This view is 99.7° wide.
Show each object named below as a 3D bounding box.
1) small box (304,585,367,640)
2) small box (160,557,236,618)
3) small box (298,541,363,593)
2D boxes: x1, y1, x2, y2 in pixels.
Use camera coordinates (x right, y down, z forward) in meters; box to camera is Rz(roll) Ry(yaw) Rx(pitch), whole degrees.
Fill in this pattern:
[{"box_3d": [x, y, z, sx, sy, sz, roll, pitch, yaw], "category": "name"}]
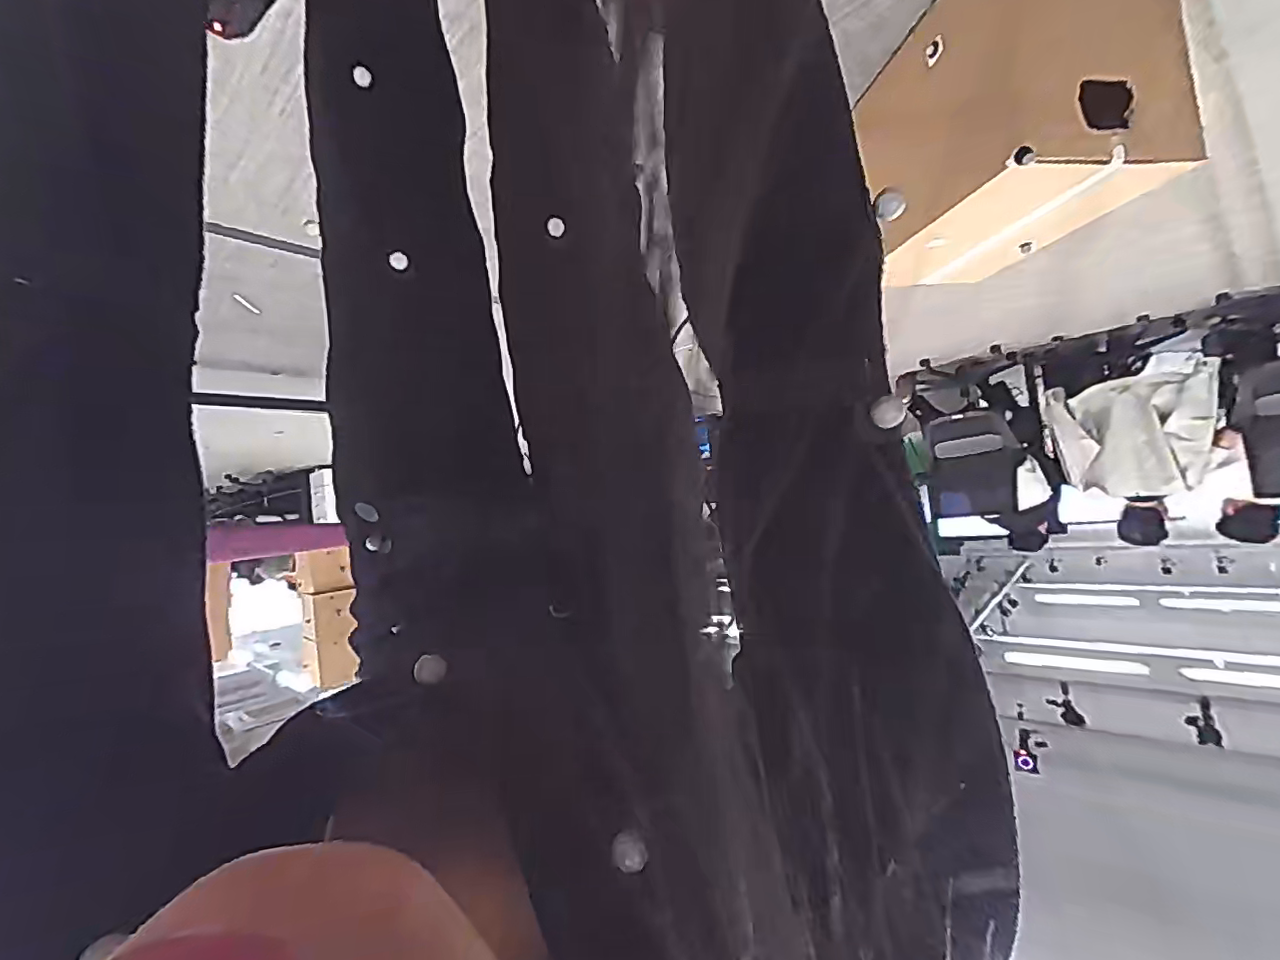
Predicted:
[{"box_3d": [-1.147, 0.488, 2.027, 0.168, 0.176, 0.179, -4, 177, -44], "category": "small box"}, {"box_3d": [-1.461, 0.349, 1.782, 0.179, 0.176, 0.168, -8, 177, 41], "category": "small box"}, {"box_3d": [-1.178, 0.327, 2.050, 0.179, 0.176, 0.168, -7, 178, 42], "category": "small box"}]
